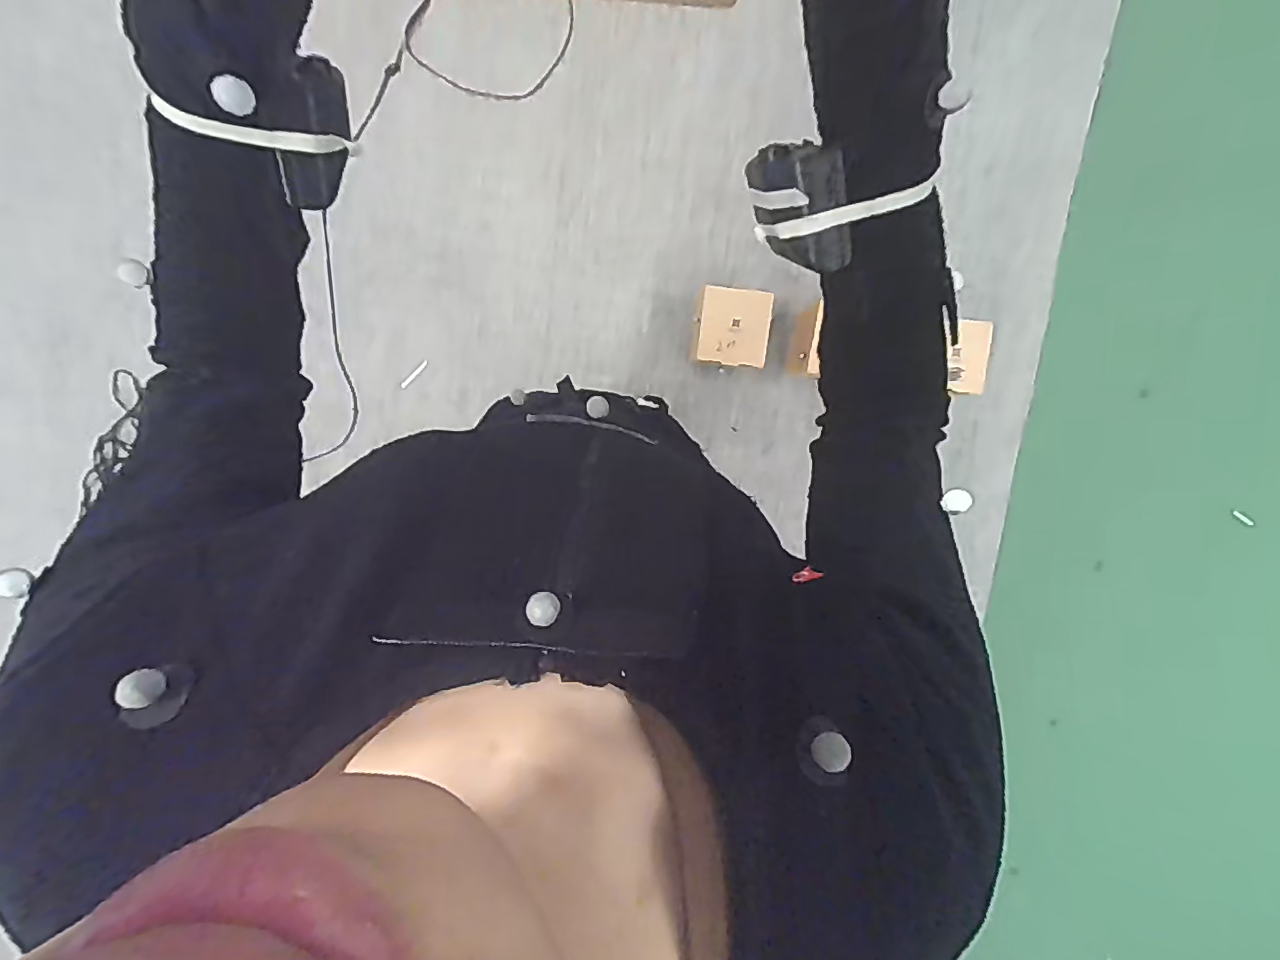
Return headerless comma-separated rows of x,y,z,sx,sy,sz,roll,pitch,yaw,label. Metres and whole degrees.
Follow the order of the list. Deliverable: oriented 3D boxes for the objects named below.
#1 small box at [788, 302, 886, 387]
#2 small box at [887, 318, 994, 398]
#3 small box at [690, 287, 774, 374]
0.487,-0.334,1.363,0.168,0.176,0.179,8,98,-3,small box
0.753,-0.302,1.376,0.168,0.176,0.179,5,97,-3,small box
0.220,-0.365,1.346,0.168,0.176,0.179,7,98,-2,small box
